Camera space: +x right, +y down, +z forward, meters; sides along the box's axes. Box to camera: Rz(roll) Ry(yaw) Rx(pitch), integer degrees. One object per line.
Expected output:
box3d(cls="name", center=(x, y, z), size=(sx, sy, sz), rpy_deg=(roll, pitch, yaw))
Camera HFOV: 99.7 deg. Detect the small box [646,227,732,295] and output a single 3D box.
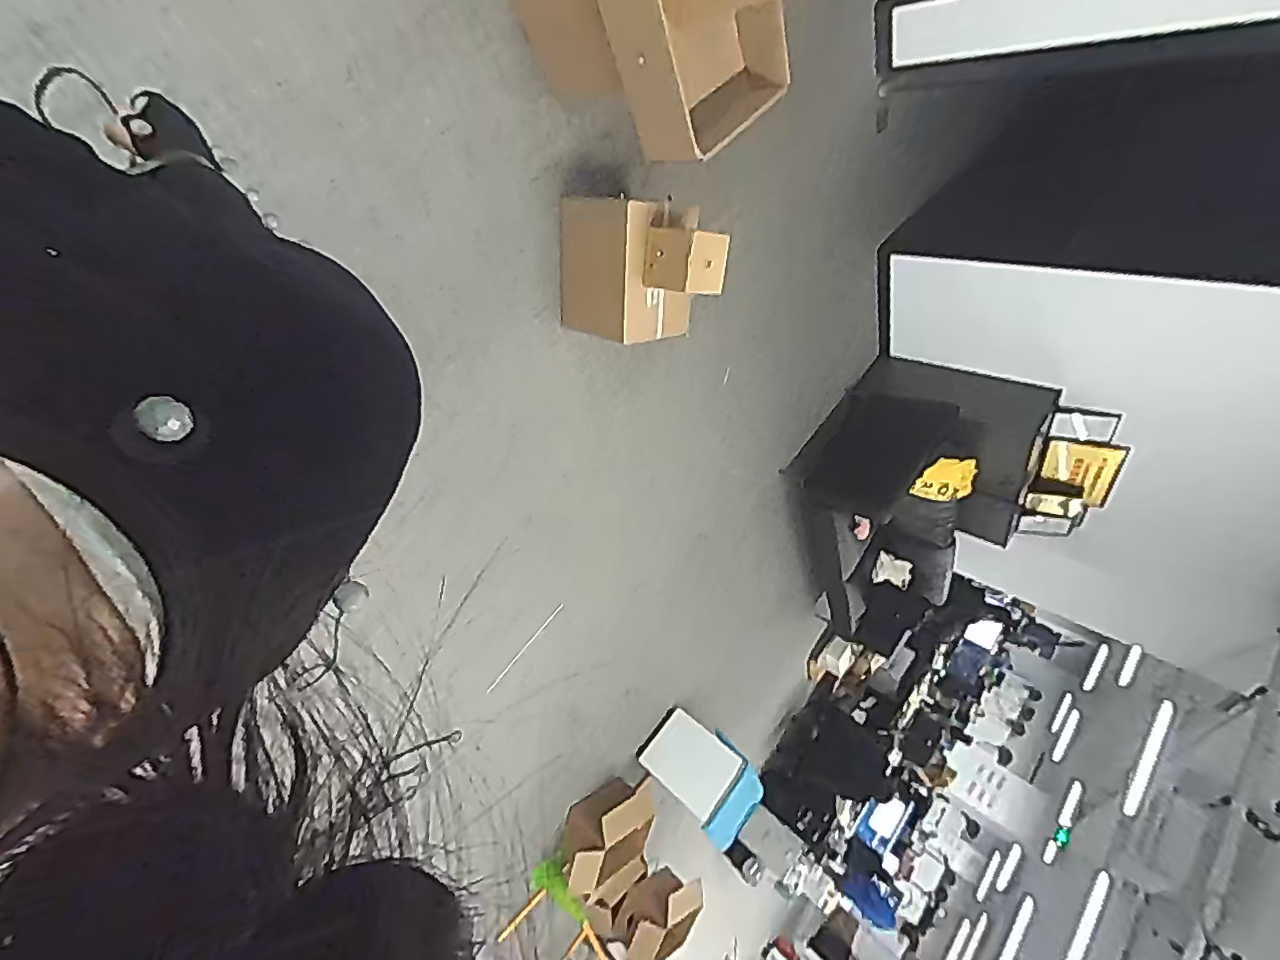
box3d(cls="small box", center=(0.142, -0.645, 1.591), size=(0.179, 0.176, 0.168), rpy_deg=(-18, 124, -43))
